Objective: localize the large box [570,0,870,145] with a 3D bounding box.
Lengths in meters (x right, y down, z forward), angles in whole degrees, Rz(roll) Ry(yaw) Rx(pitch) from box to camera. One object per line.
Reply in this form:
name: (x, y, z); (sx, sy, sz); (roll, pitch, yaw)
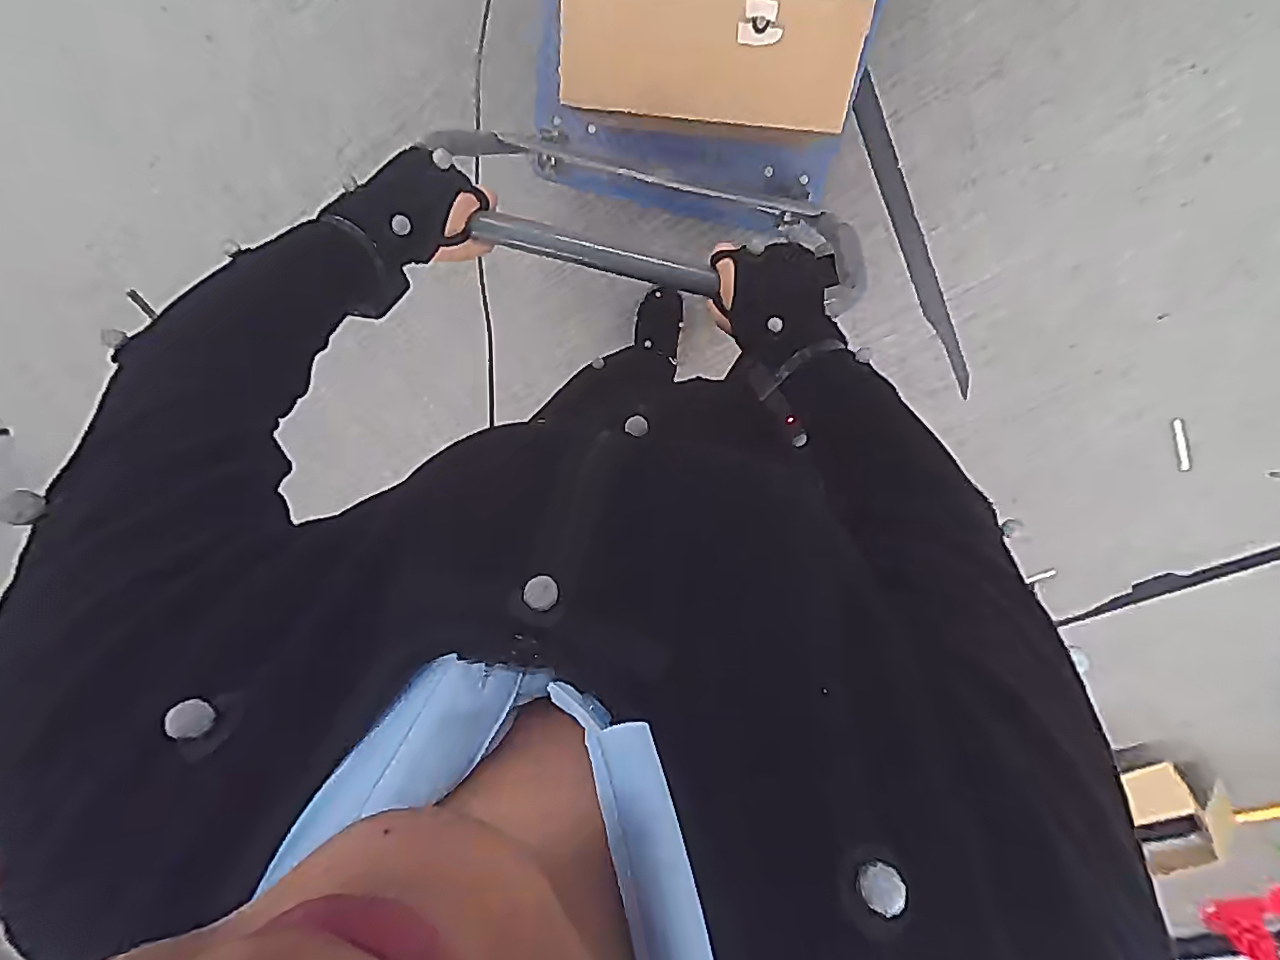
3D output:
large box: (0.118, -0.724, 0.839); (0.408, 0.320, 0.320); (7, 119, 3)
